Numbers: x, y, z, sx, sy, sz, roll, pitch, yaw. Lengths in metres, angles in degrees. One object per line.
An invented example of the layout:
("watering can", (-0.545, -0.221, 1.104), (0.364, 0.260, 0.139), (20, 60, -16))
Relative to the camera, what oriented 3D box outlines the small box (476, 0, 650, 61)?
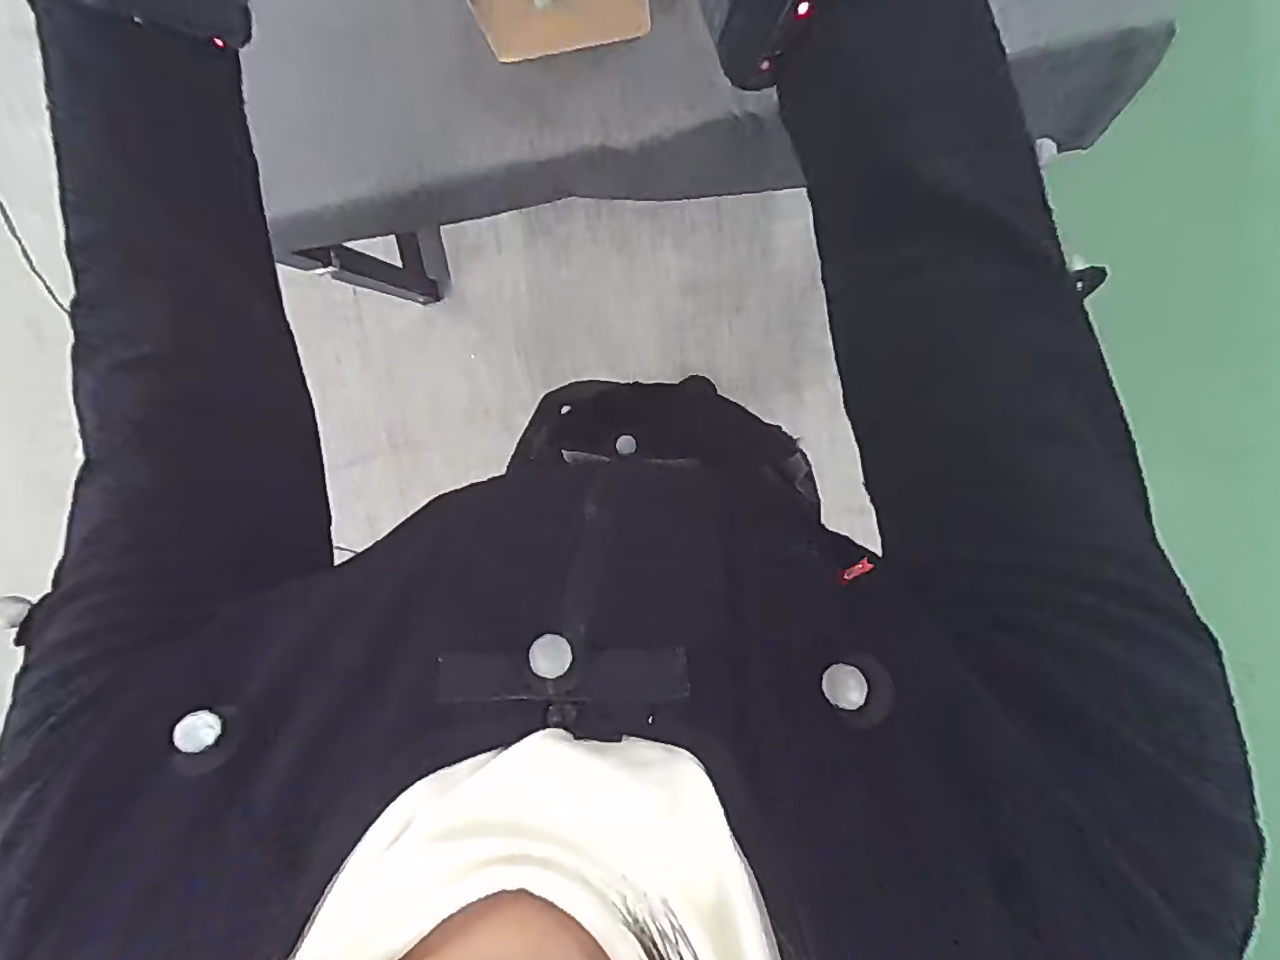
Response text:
("small box", (-0.093, -0.559, 0.531), (0.179, 0.176, 0.168), (-10, 98, 5))
